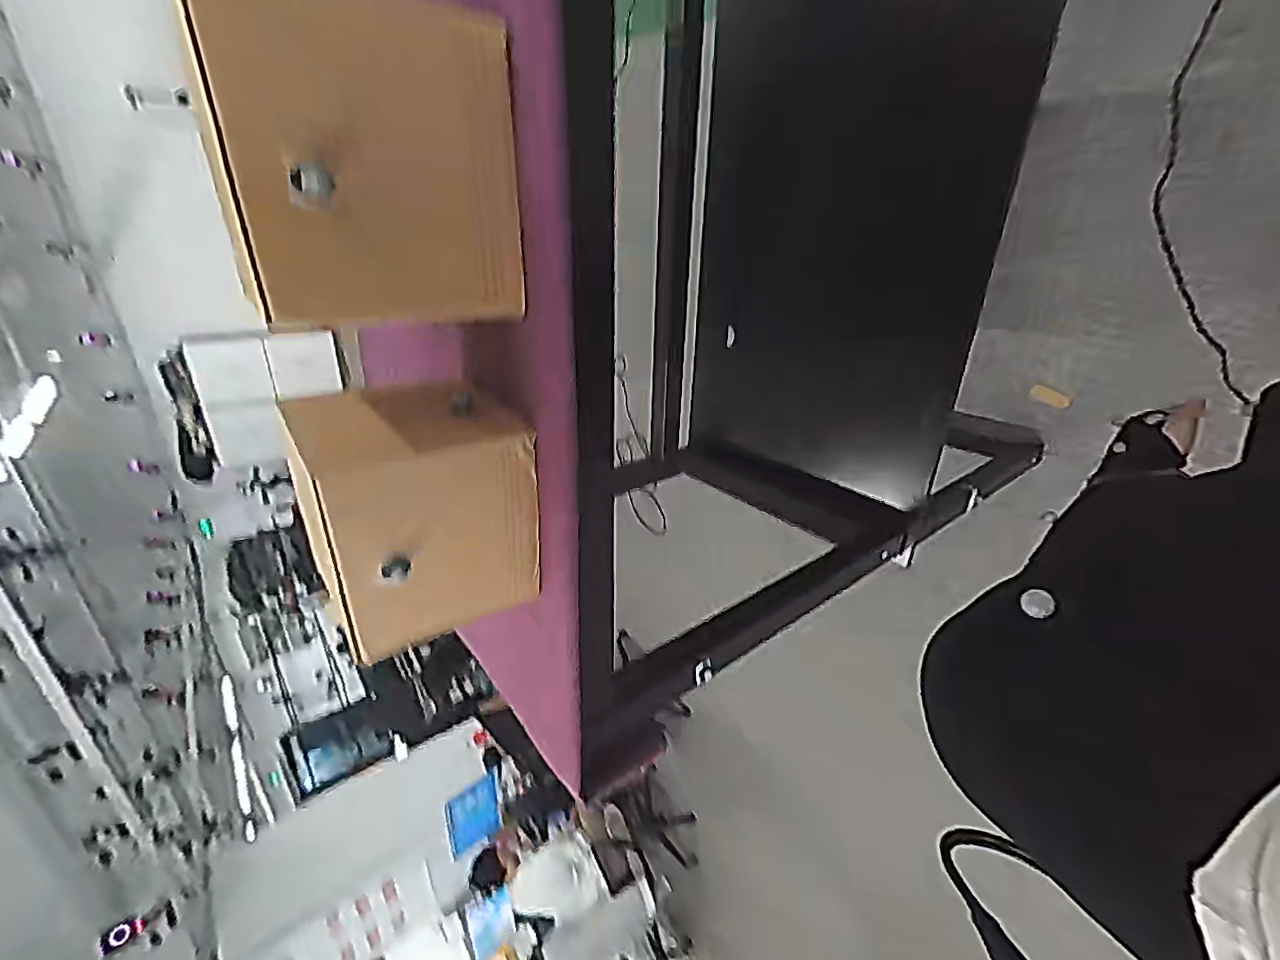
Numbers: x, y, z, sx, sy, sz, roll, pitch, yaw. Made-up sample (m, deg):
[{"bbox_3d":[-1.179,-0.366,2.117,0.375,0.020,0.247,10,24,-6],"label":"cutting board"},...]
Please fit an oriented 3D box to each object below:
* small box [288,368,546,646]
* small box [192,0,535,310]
[{"bbox_3d":[-0.195,0.009,0.494,0.168,0.176,0.179,34,128,43],"label":"small box"},{"bbox_3d":[-0.189,-0.227,0.390,0.168,0.176,0.179,29,127,46],"label":"small box"}]
